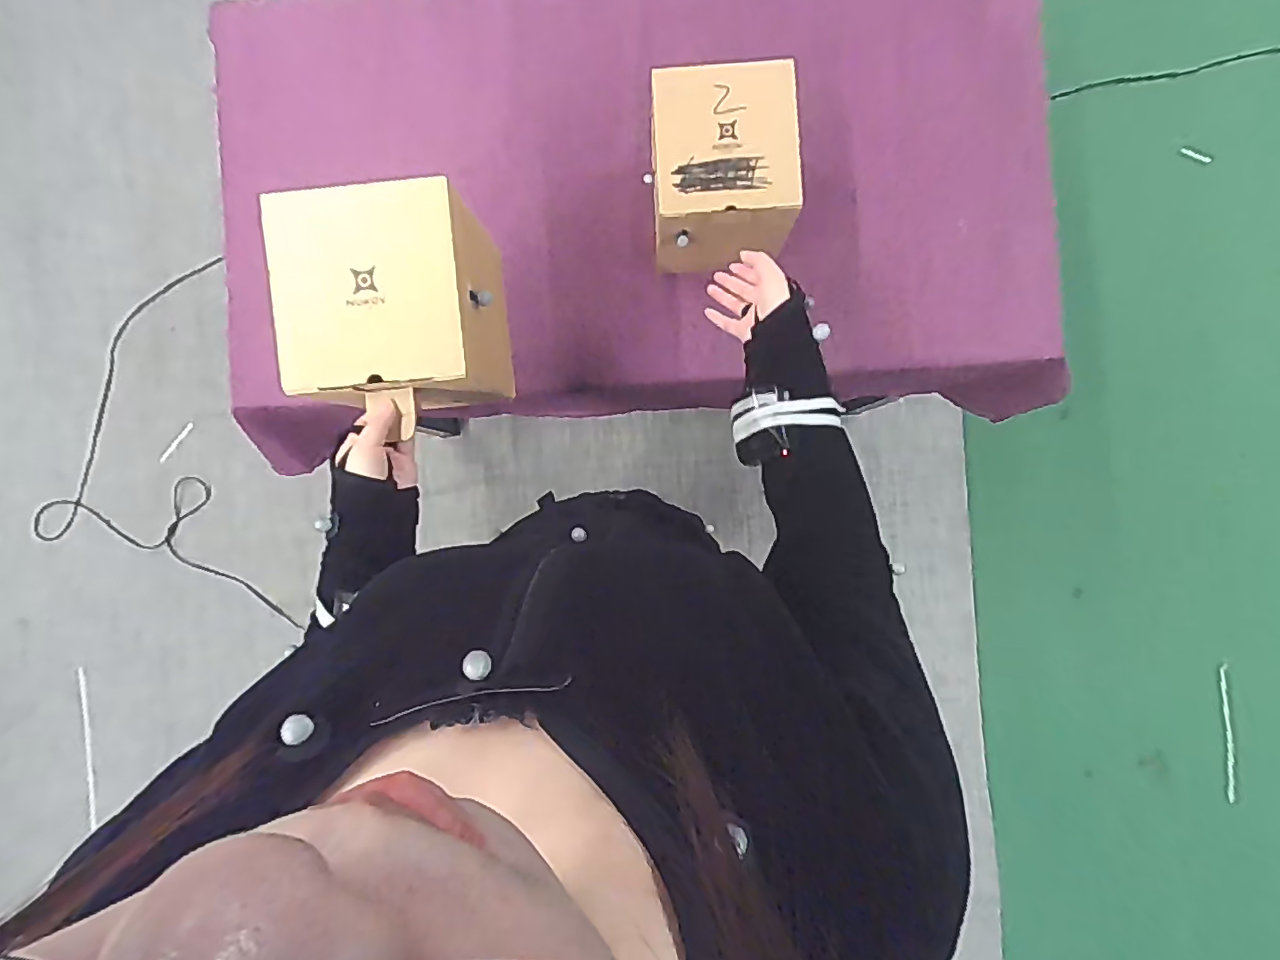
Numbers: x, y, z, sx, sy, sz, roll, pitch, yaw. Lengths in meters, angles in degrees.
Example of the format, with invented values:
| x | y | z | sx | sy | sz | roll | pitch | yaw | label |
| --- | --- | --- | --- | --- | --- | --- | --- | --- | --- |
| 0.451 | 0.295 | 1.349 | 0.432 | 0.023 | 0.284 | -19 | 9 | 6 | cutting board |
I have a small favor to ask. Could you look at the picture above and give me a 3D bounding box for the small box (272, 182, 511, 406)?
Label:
| x | y | z | sx | sy | sz | roll | pitch | yaw | label |
| --- | --- | --- | --- | --- | --- | --- | --- | --- | --- |
| -0.241 | -0.178 | 0.566 | 0.168 | 0.176 | 0.179 | -5 | 93 | 1 | small box |
